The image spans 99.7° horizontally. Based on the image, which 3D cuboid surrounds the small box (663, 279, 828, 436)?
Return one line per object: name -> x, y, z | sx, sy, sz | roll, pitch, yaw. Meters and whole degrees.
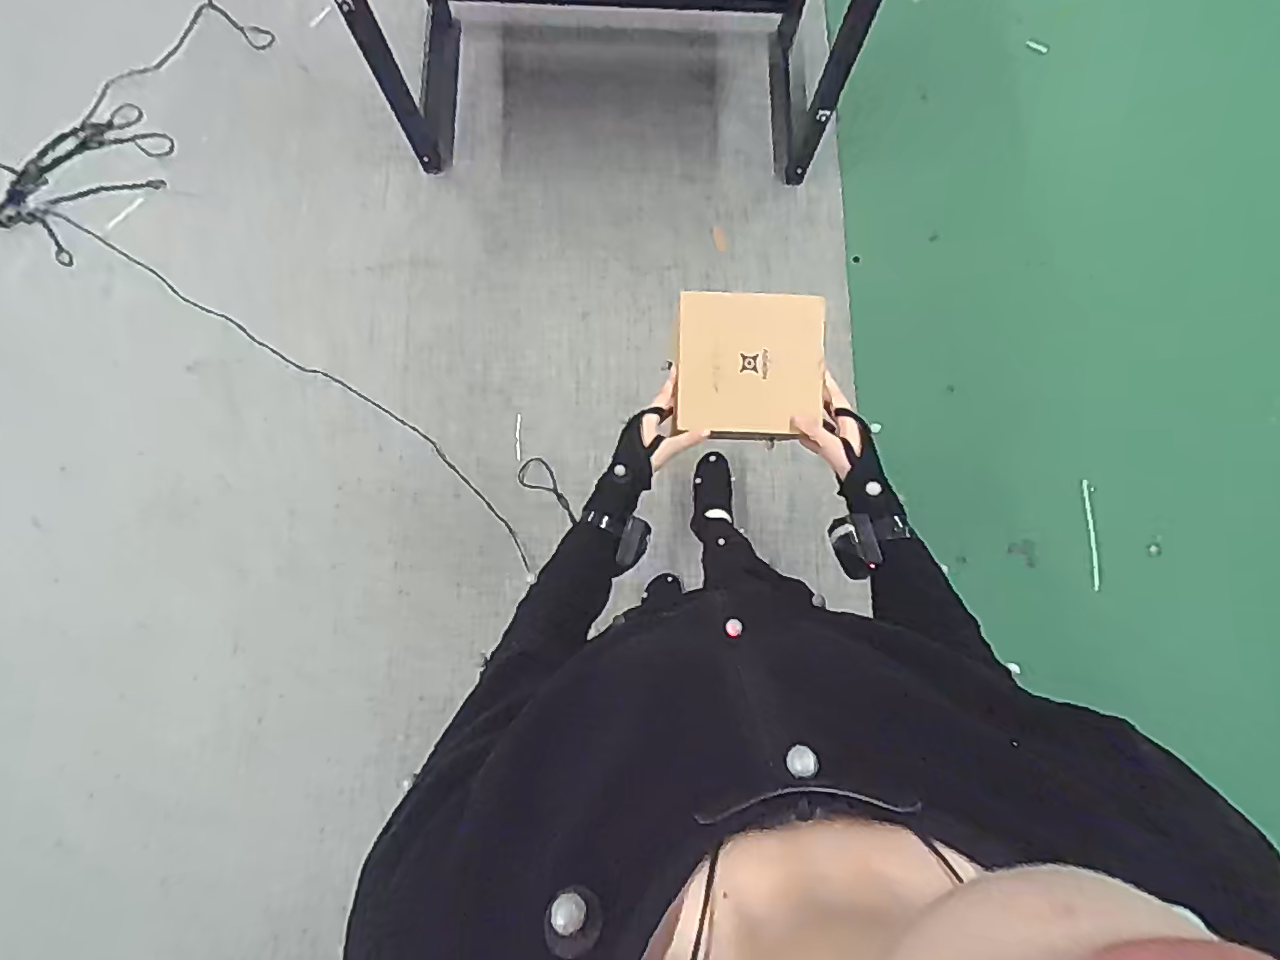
small box -> 0.125, -0.147, 0.701 | 0.179, 0.176, 0.168 | 2, 90, -1
